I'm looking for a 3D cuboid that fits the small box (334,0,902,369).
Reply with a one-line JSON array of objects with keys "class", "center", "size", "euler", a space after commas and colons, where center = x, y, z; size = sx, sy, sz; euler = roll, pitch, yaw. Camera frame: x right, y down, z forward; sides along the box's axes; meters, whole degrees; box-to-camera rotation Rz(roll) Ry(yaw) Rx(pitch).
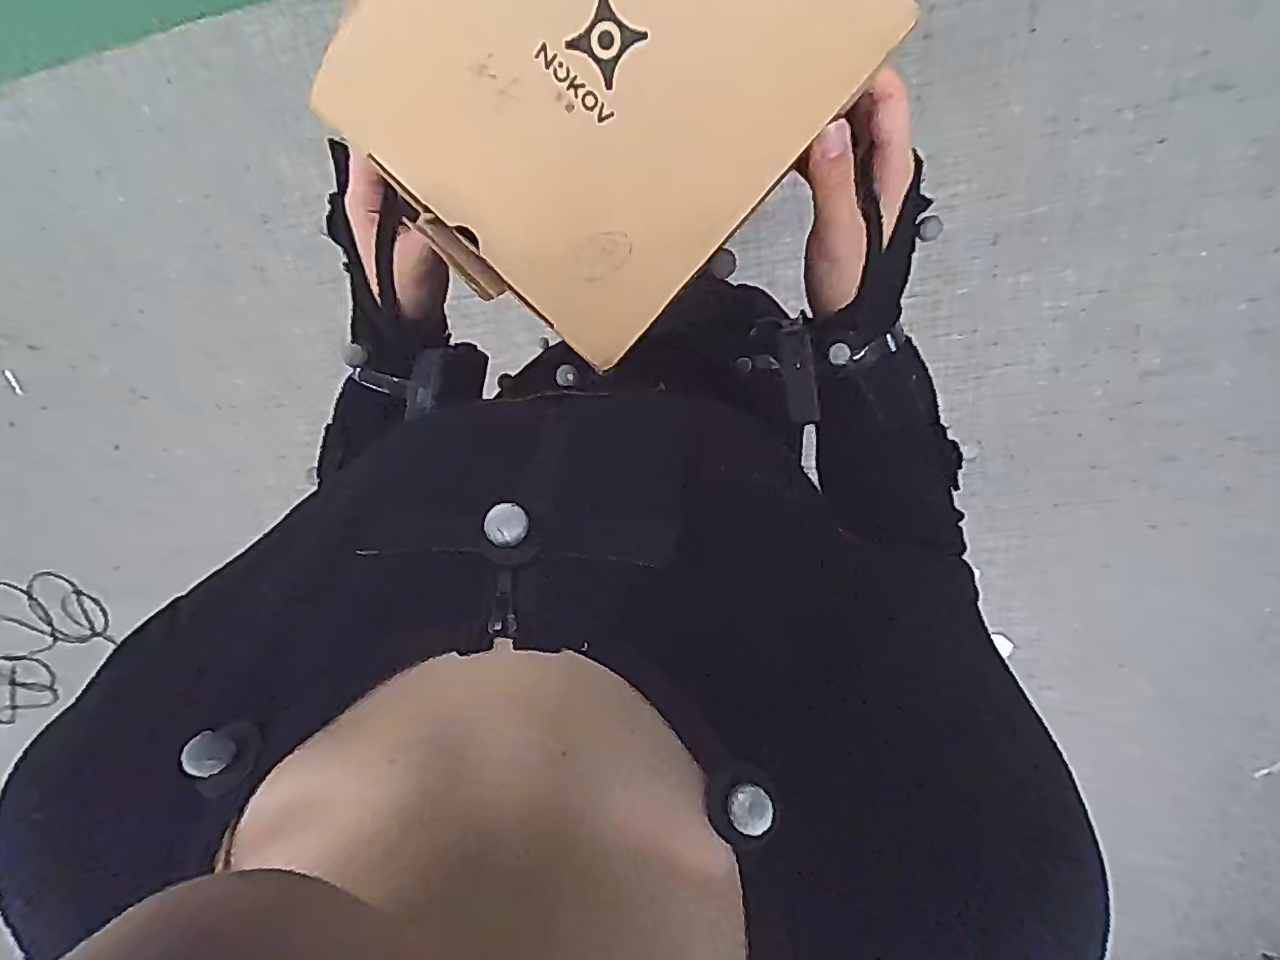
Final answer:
[{"class": "small box", "center": [-0.007, -0.189, 0.287], "size": [0.168, 0.176, 0.179], "euler": [41, 111, -10]}]
